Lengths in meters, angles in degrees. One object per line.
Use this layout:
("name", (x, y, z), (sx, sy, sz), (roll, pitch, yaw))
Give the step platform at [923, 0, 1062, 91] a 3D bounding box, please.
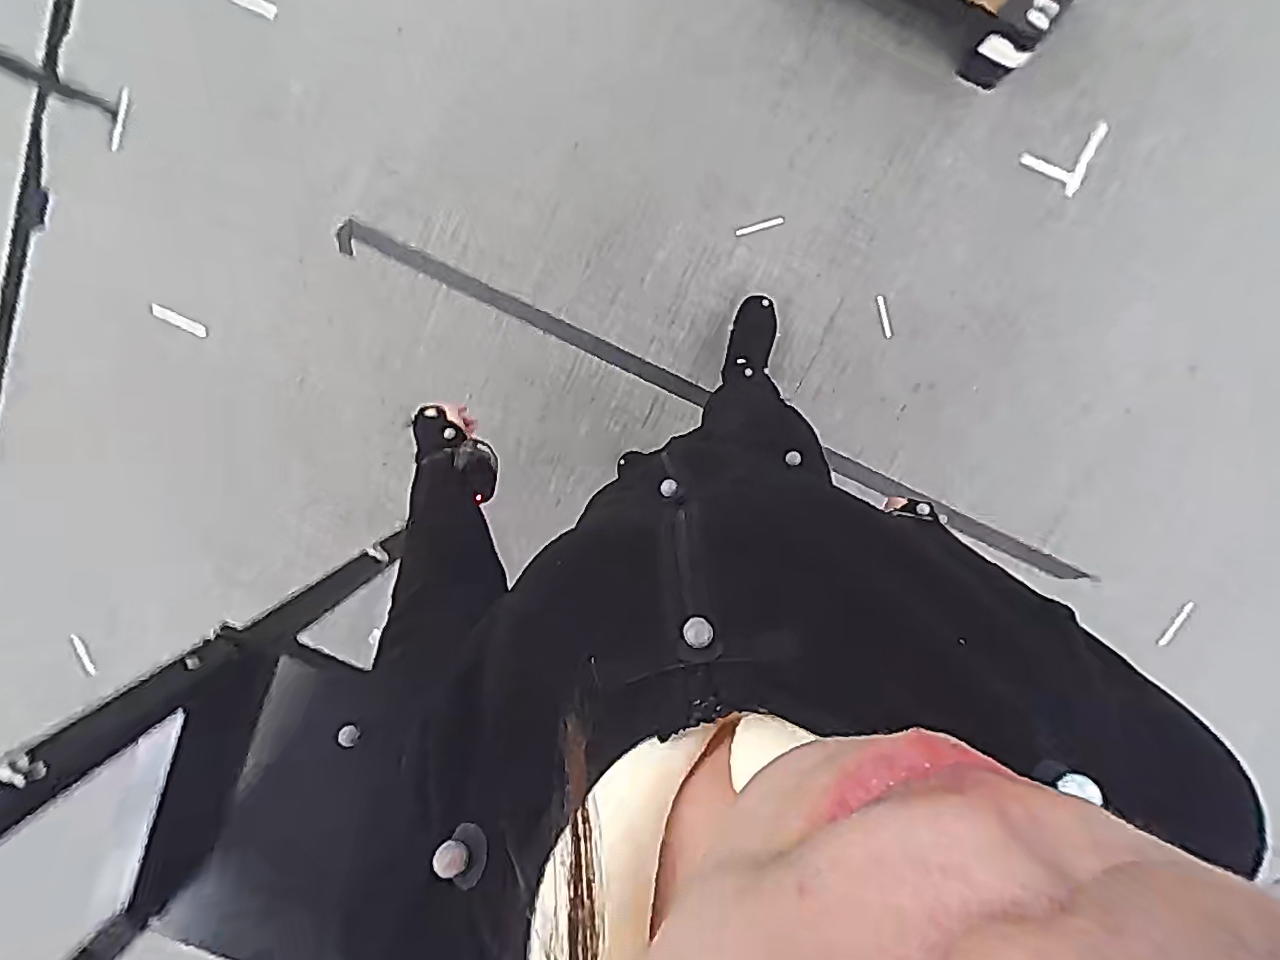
("step platform", (0.588, -1.176, 1.150), (0.684, 0.204, 0.286), (30, 100, -3))
